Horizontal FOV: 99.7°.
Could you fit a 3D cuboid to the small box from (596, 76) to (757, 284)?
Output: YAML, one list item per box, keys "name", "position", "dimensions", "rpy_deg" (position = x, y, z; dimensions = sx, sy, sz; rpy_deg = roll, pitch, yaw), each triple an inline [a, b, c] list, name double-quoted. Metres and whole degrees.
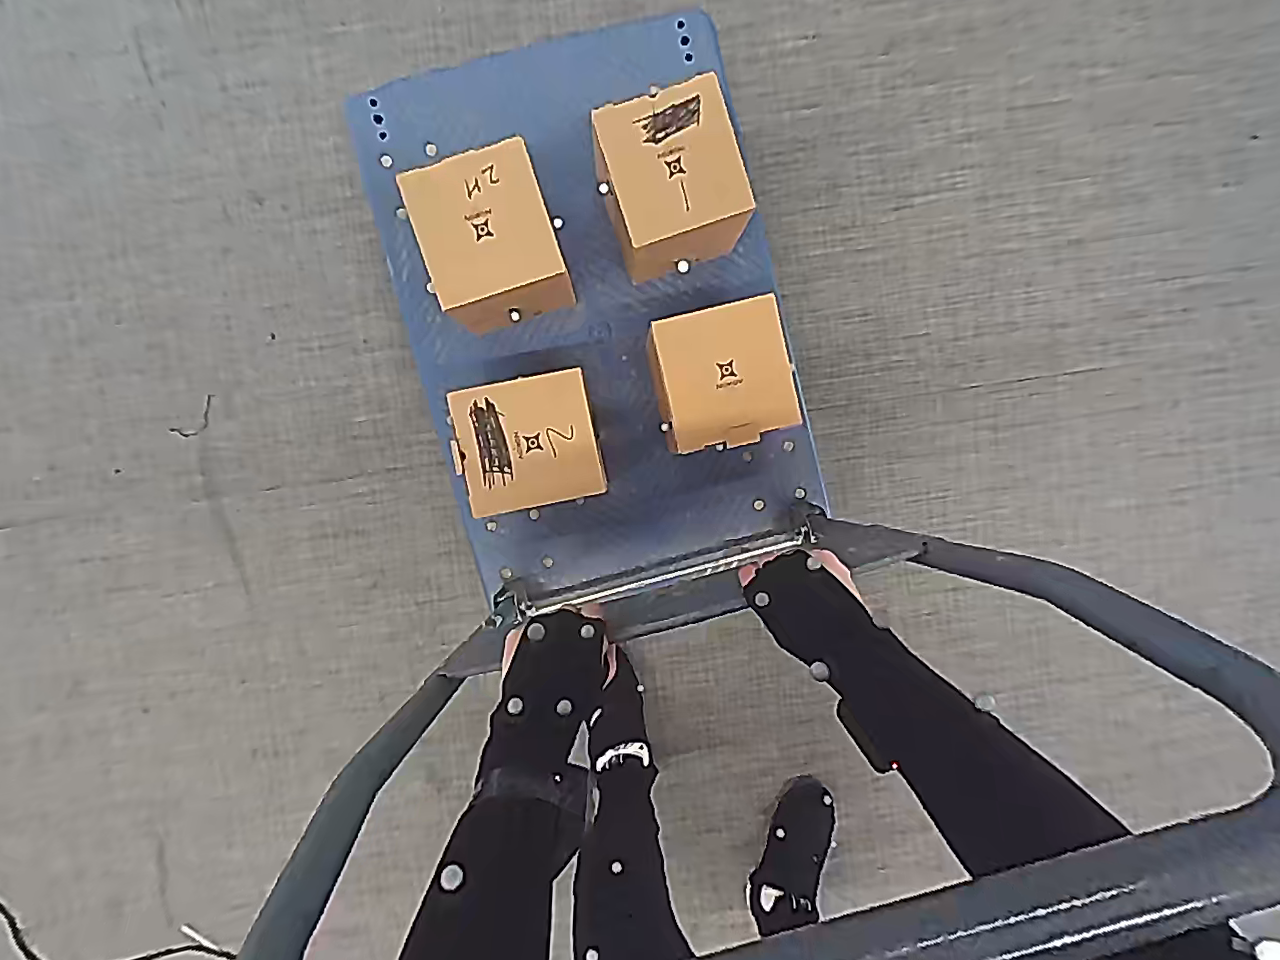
- name: "small box"
  position: [0.043, -0.400, 0.752]
  dimensions: [0.168, 0.176, 0.179]
  rpy_deg: [-18, 95, 0]

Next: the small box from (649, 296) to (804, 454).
- name: "small box"
  position: [0.111, -0.138, 0.773]
  dimensions: [0.168, 0.176, 0.179]
  rpy_deg: [-14, 94, -1]

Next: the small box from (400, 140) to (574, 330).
- name: "small box"
  position: [-0.196, -0.319, 0.750]
  dimensions: [0.168, 0.176, 0.179]
  rpy_deg: [-18, 94, -2]
